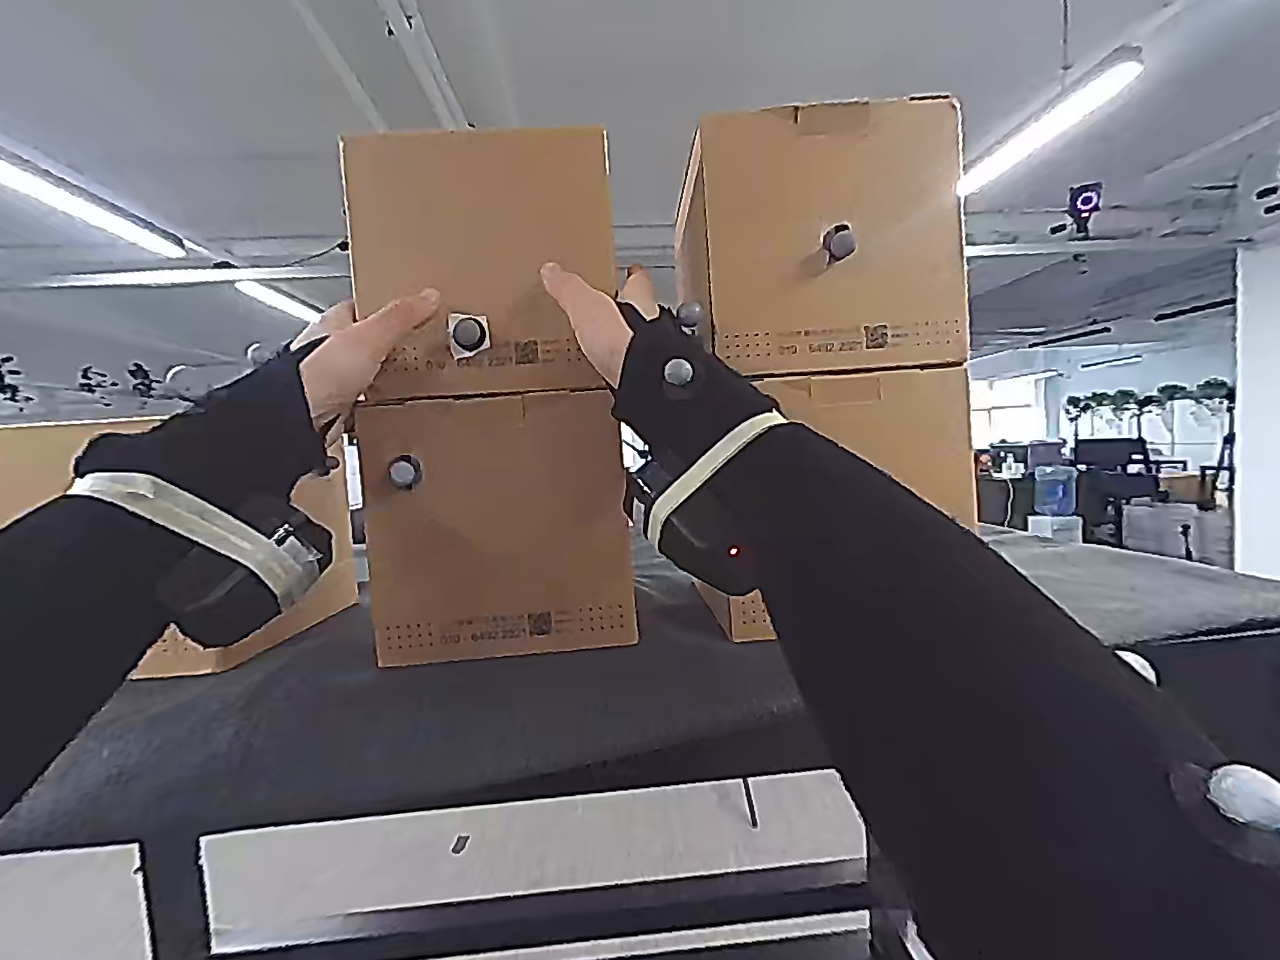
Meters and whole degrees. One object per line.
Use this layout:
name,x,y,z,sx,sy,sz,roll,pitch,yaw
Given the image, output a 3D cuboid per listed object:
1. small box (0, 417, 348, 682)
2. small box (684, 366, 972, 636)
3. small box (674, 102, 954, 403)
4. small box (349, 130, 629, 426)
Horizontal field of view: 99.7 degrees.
small box,-0.350,0.047,0.421,0.168,0.176,0.179,-4,2,-1
small box,0.130,0.013,0.429,0.168,0.176,0.179,-6,3,-2
small box,0.120,-0.152,0.423,0.168,0.176,0.179,-4,3,-1
small box,-0.099,-0.134,0.422,0.168,0.176,0.179,-5,2,-4
